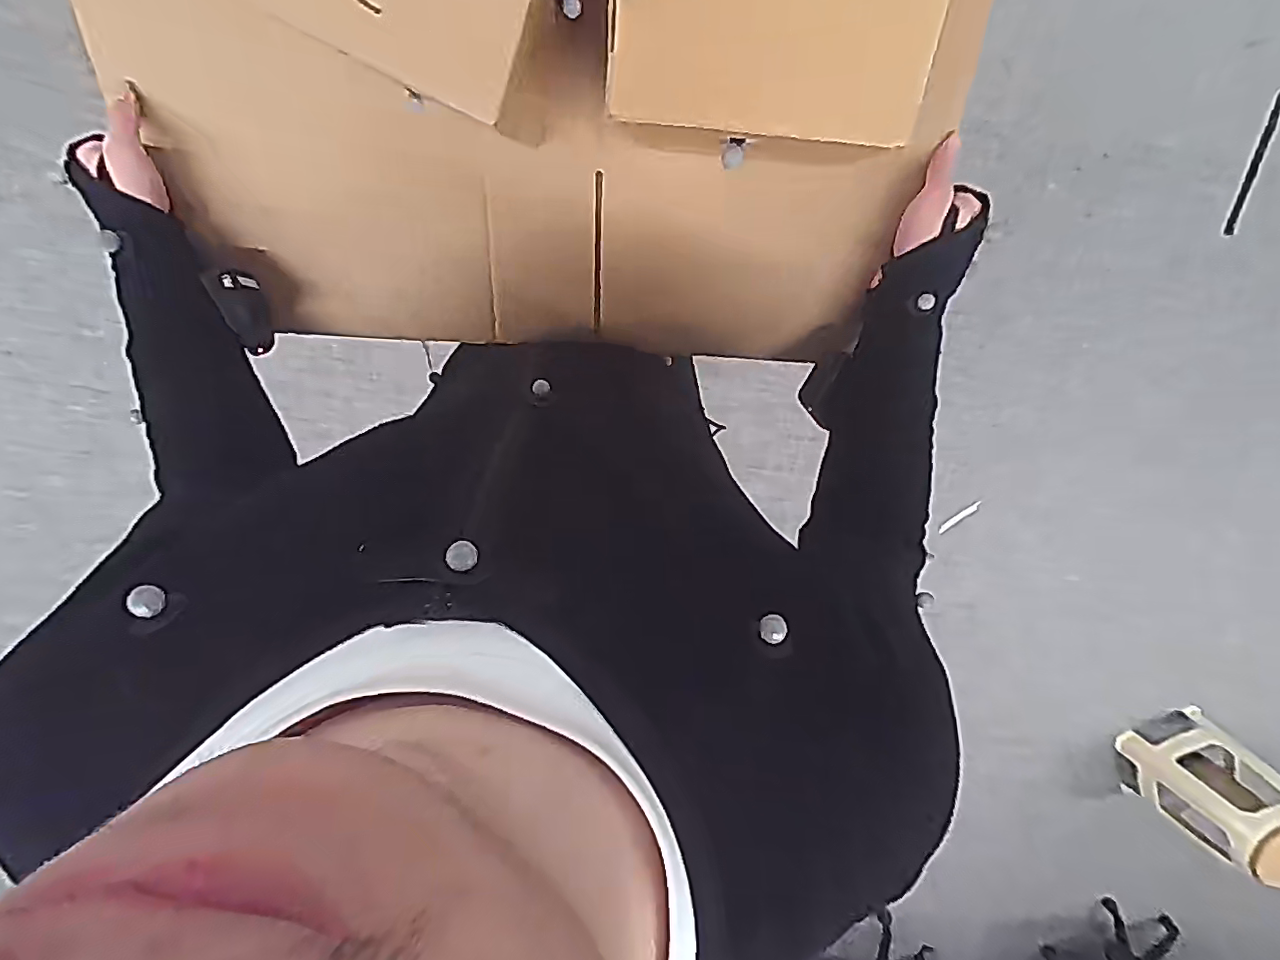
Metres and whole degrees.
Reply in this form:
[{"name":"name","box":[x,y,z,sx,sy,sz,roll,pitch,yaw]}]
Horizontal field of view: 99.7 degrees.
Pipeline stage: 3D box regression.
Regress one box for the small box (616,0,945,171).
[{"name":"small box","box":[0.086,-0.309,0.359,0.179,0.176,0.168,7,118,3]}]
